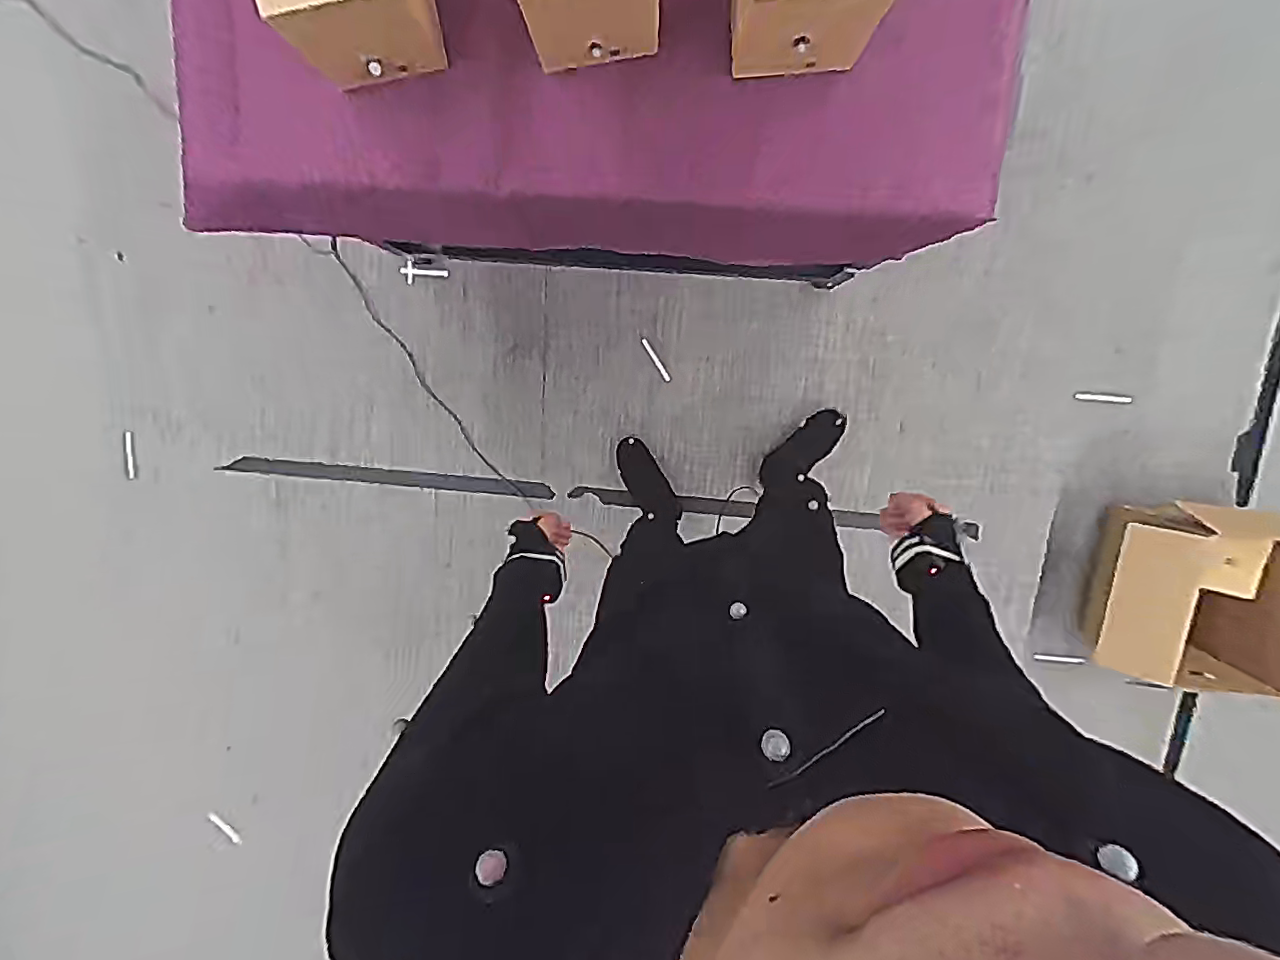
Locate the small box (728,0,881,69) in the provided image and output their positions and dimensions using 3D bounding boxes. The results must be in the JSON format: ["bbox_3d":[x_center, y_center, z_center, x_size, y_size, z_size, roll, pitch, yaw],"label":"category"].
[{"bbox_3d":[0.201,-0.635,0.657,0.168,0.176,0.179,-2,100,2],"label":"small box"}]

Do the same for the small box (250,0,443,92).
[{"bbox_3d":[-0.372,-0.636,0.678,0.168,0.176,0.179,-10,101,4],"label":"small box"}]
